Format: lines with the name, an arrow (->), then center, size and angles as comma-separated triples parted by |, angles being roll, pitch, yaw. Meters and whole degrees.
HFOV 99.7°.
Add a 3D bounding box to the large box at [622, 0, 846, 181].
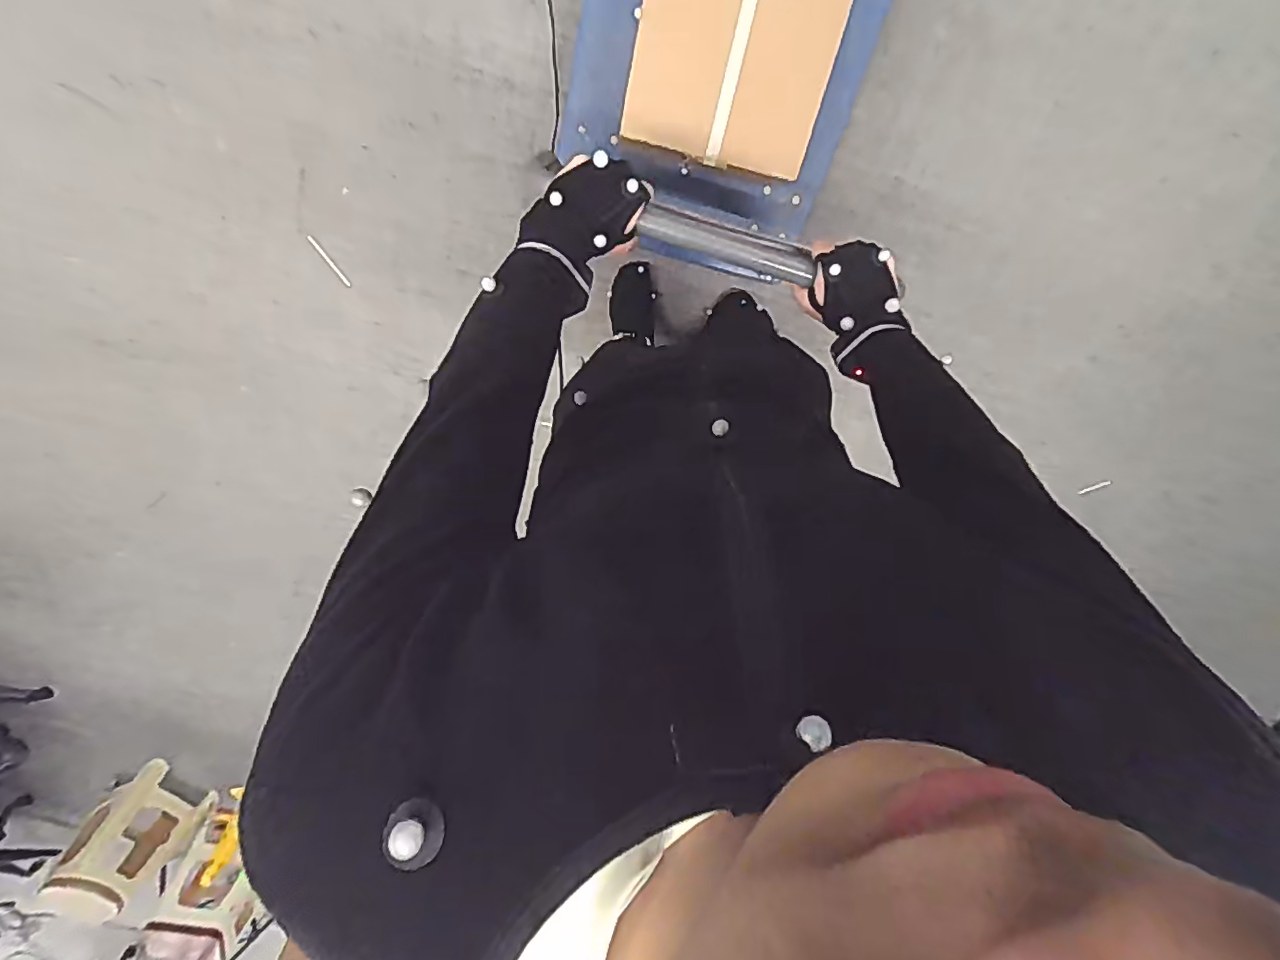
large box -> 0.156, -0.790, 0.962 | 0.320, 0.320, 0.408 | 10, 117, -6
